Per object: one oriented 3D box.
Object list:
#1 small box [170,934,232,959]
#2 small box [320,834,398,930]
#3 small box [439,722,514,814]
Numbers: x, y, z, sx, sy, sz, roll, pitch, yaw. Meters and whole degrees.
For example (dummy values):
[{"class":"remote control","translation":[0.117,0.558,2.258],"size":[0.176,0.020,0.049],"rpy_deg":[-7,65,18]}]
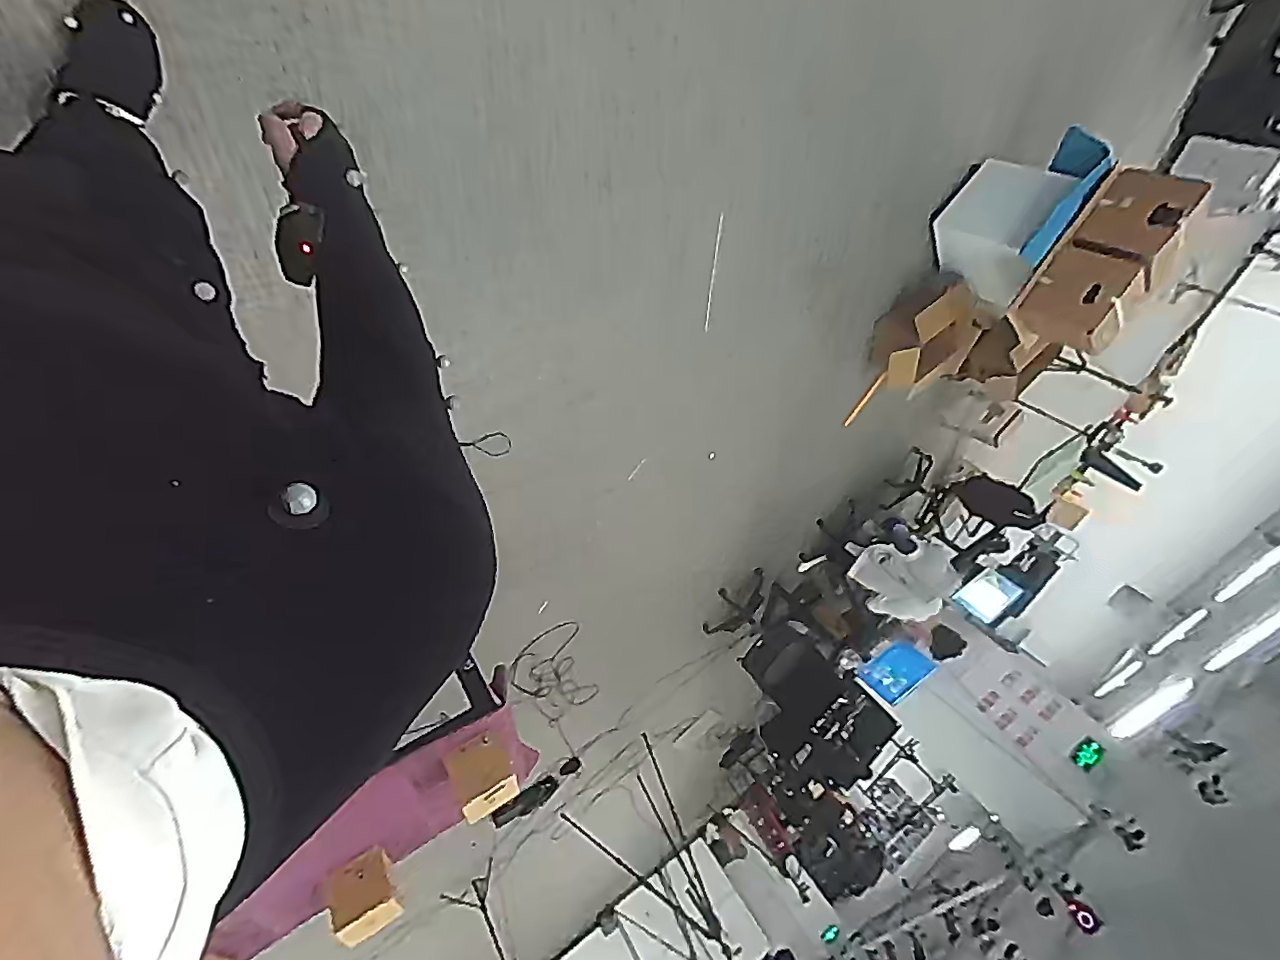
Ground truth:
[{"class":"small box","translation":[-1.269,1.427,1.516],"size":[0.168,0.176,0.179],"rpy_deg":[-25,139,-27]},{"class":"small box","translation":[-0.891,1.269,1.716],"size":[0.168,0.176,0.179],"rpy_deg":[-20,136,-27]},{"class":"small box","translation":[-0.511,0.891,1.687],"size":[0.168,0.176,0.179],"rpy_deg":[-21,140,-26]}]
